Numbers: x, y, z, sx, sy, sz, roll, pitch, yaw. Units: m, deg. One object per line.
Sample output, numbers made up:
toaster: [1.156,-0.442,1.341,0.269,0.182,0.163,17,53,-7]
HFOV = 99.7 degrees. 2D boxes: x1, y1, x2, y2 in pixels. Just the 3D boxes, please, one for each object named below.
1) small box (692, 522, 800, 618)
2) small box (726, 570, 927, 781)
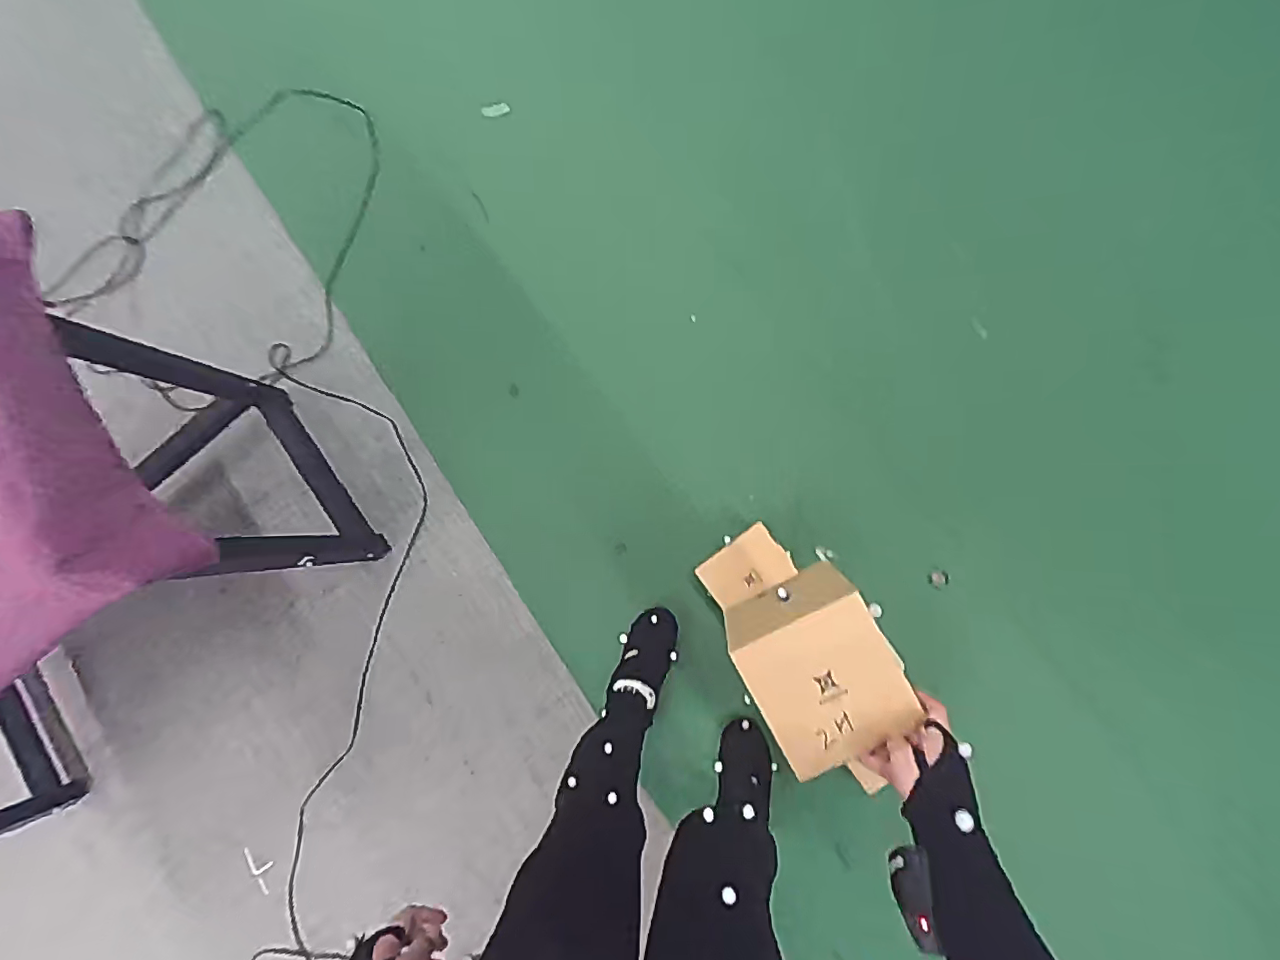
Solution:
small box: [0.237,0.211,1.187,0.179,0.176,0.168,-37,80,3]
small box: [0.220,0.231,0.692,0.168,0.176,0.179,-28,91,8]
